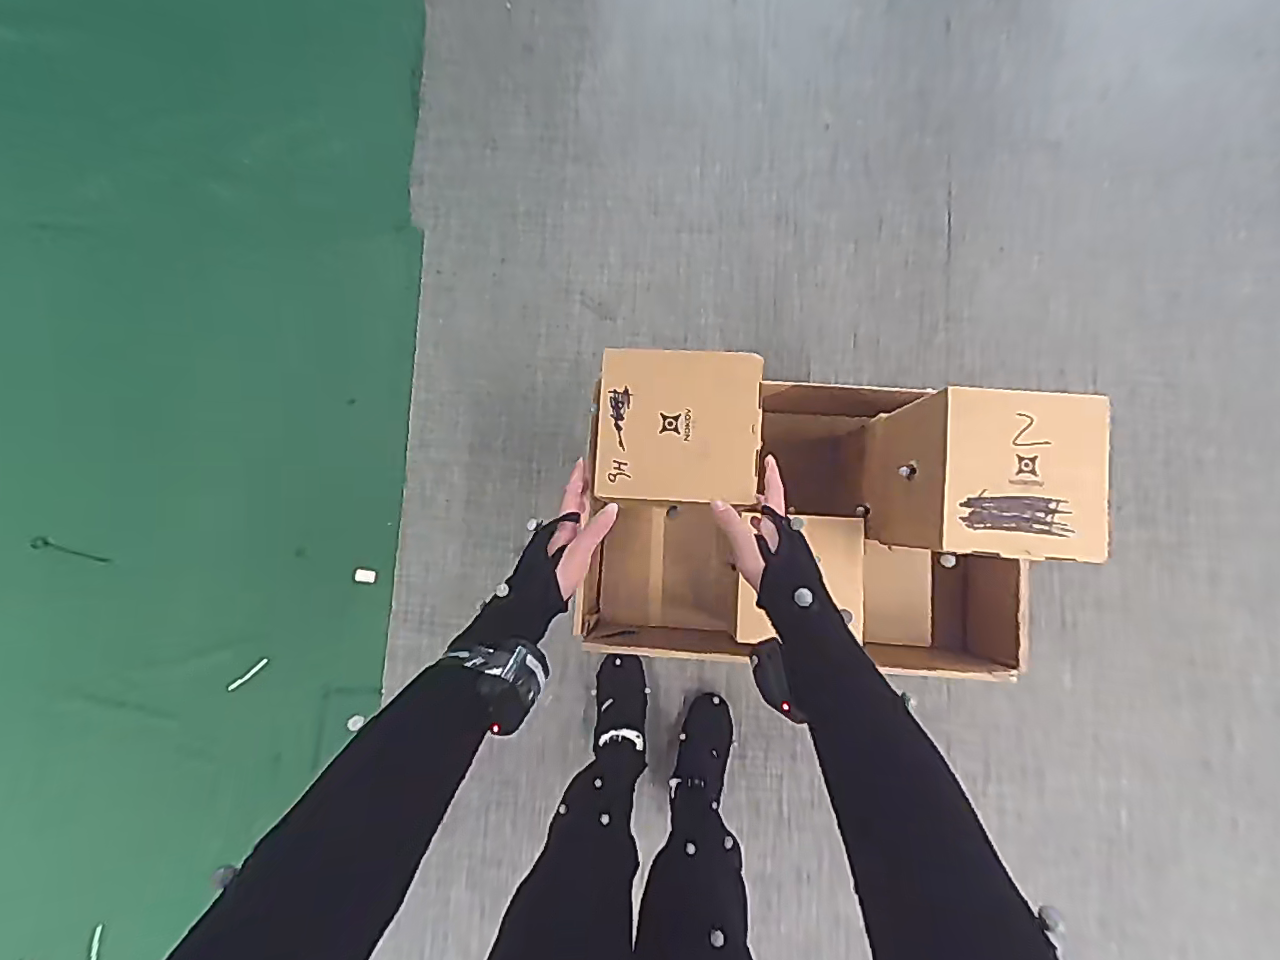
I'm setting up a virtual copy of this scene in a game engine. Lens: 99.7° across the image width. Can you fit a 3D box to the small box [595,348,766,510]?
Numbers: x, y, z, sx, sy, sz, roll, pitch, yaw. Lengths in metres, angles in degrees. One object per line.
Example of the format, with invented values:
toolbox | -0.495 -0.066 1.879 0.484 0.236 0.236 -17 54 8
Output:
small box | 0.047 -0.051 0.660 0.179 0.176 0.168 4 85 3
